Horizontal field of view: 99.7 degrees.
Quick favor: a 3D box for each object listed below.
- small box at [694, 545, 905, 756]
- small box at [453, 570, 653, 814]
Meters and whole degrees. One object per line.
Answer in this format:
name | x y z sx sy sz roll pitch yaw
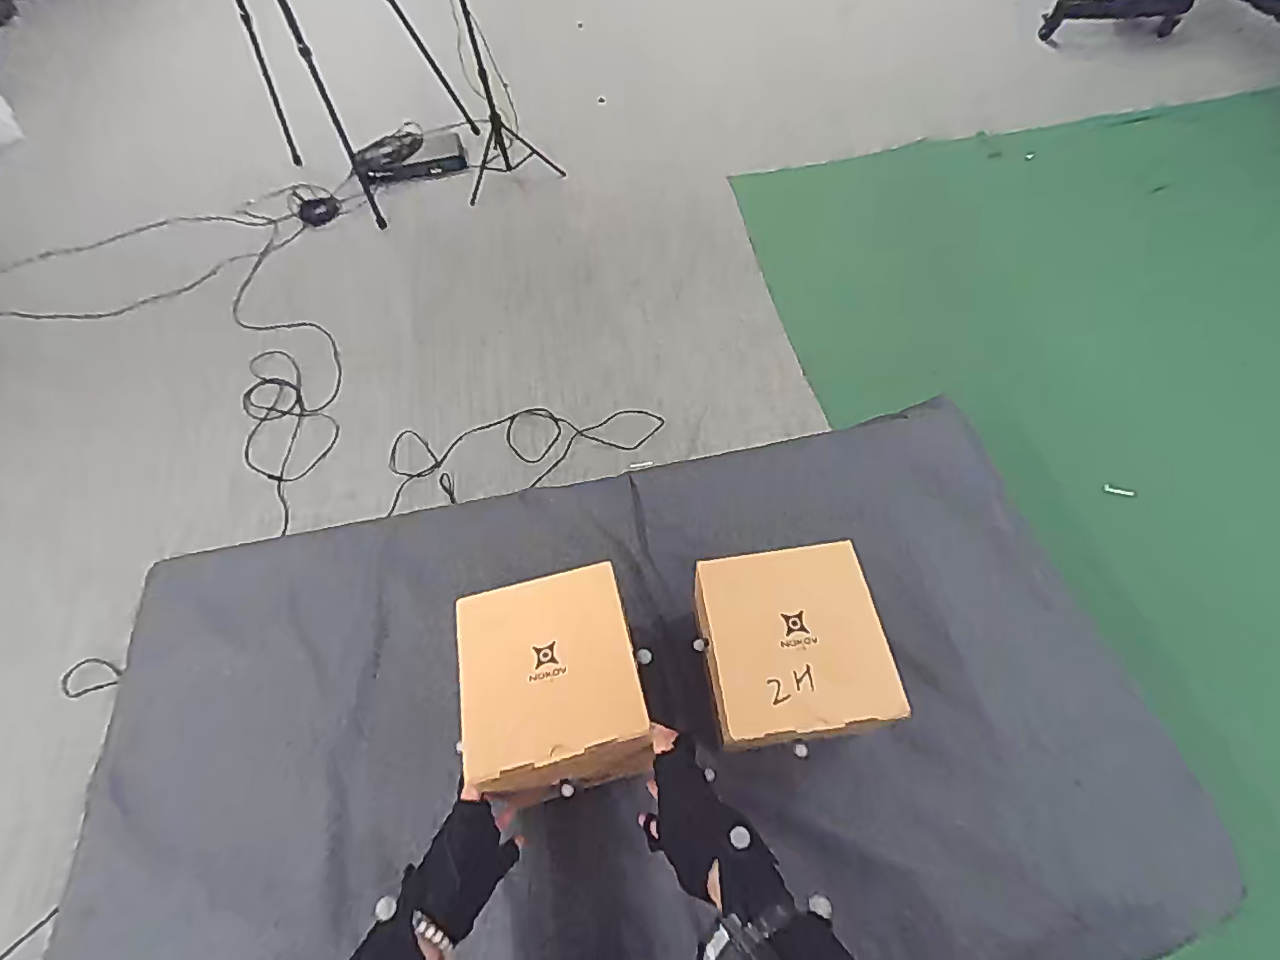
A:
small box | 0.153 0.193 0.595 0.168 0.176 0.179 -9 60 0
small box | -0.088 0.226 0.572 0.168 0.176 0.179 -14 54 -6
